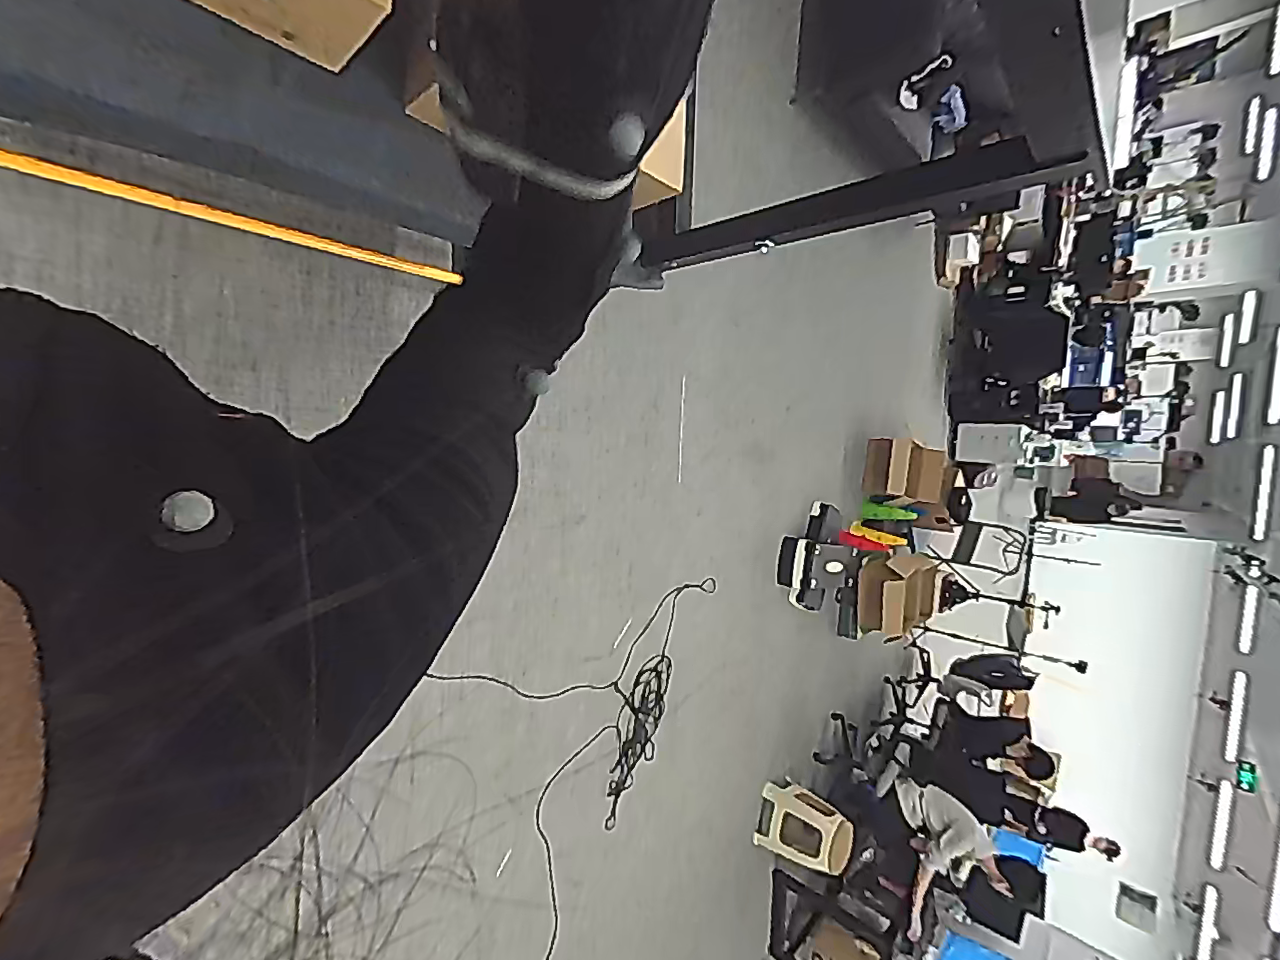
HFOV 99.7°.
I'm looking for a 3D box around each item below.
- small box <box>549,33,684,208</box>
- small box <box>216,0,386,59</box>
[{"bbox_3d":[-0.043,-0.597,0.932,0.168,0.176,0.179,-3,96,-48],"label":"small box"},{"bbox_3d":[-0.379,-0.602,0.570,0.168,0.176,0.179,-1,96,-47],"label":"small box"}]
